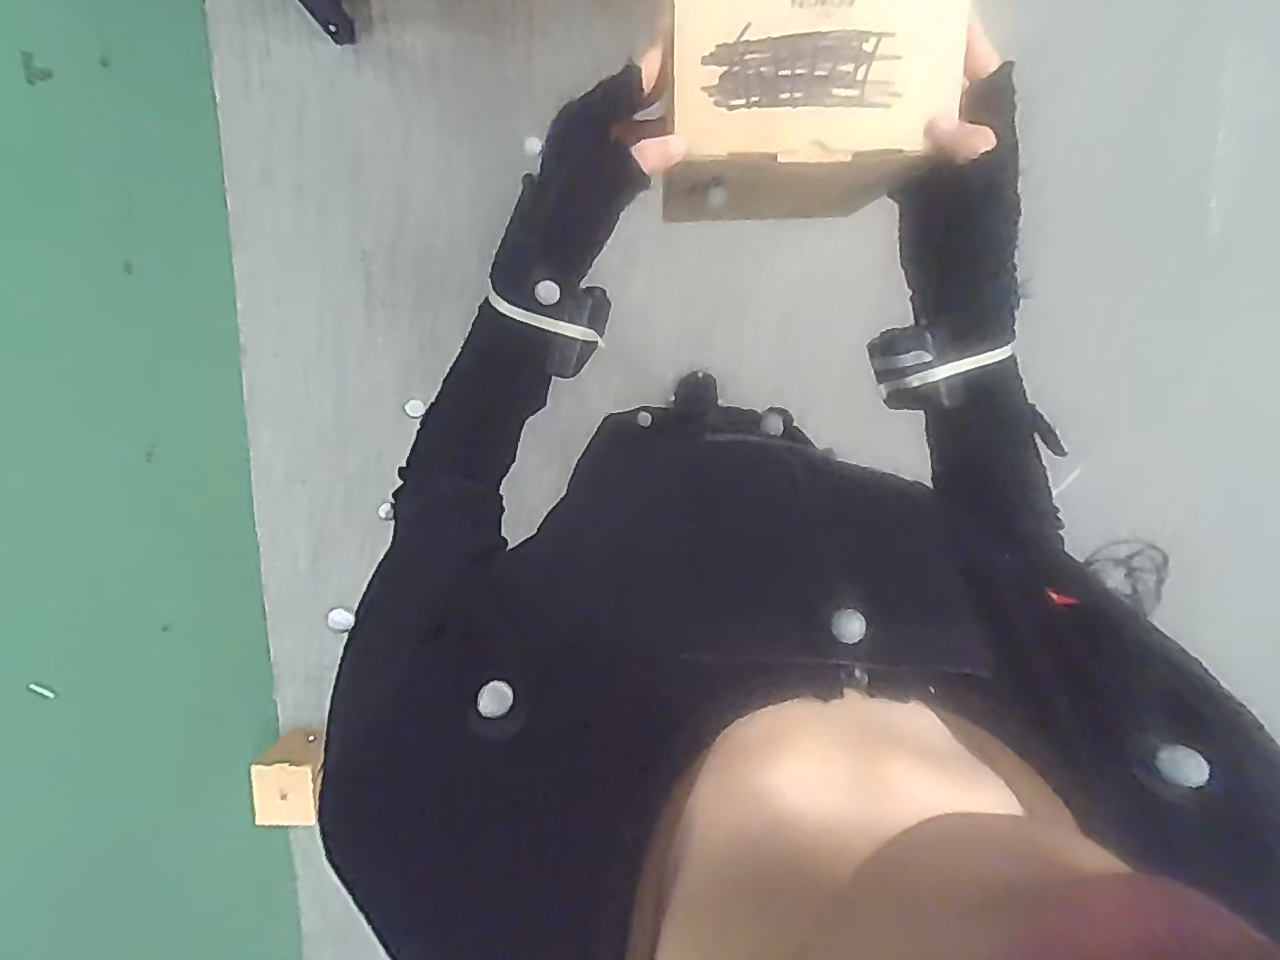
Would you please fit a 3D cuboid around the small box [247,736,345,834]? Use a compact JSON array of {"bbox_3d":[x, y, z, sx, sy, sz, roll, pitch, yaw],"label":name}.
[{"bbox_3d":[-0.943,0.840,1.496,0.168,0.176,0.179,0,96,0],"label":"small box"}]
